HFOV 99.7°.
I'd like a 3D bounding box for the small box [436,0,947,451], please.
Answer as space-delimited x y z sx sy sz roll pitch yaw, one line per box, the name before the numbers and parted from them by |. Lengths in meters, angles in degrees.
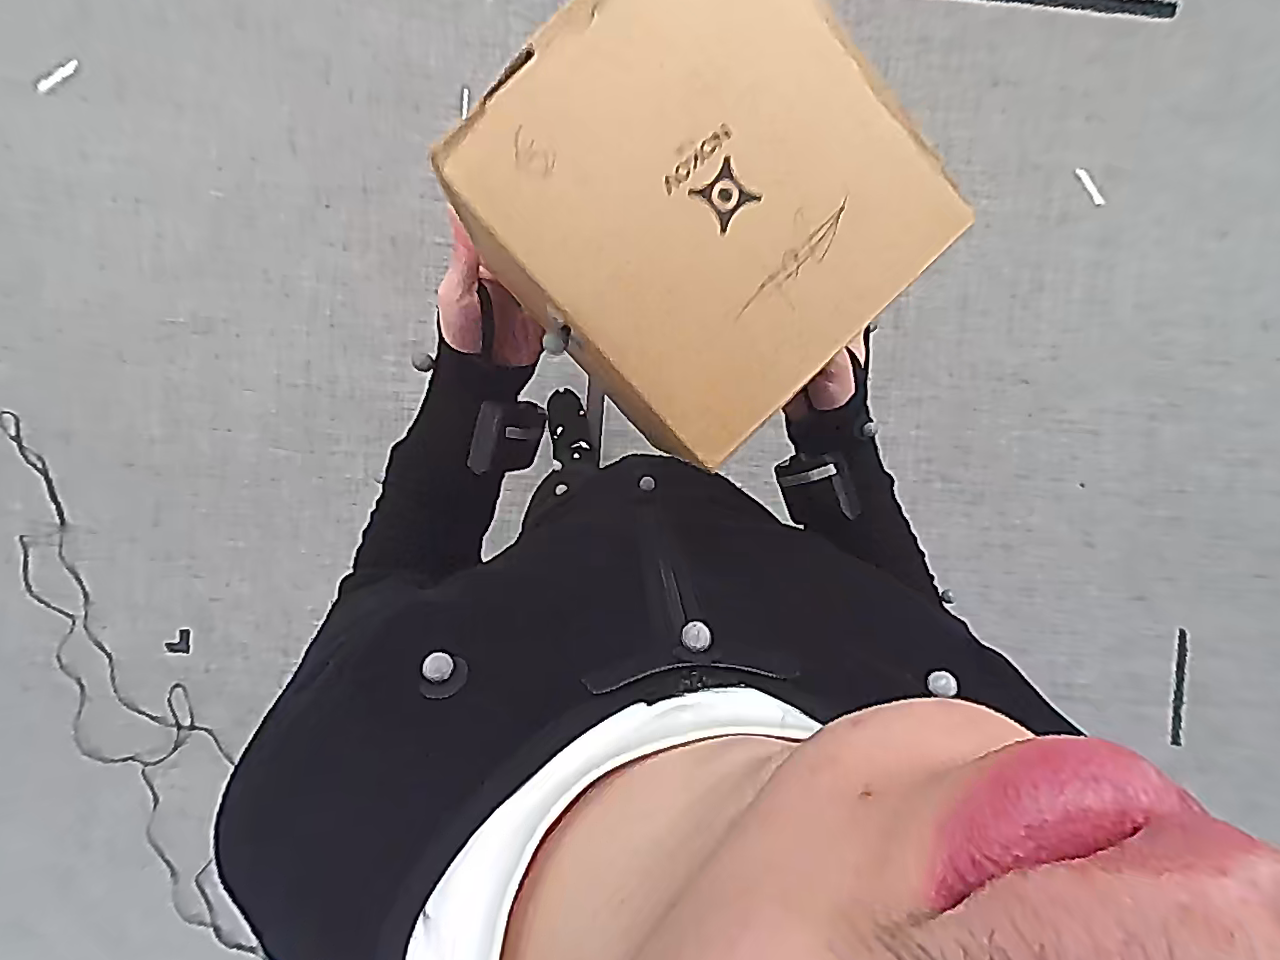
small box | 0.020 -0.137 0.318 0.168 0.176 0.179 -44 101 2
